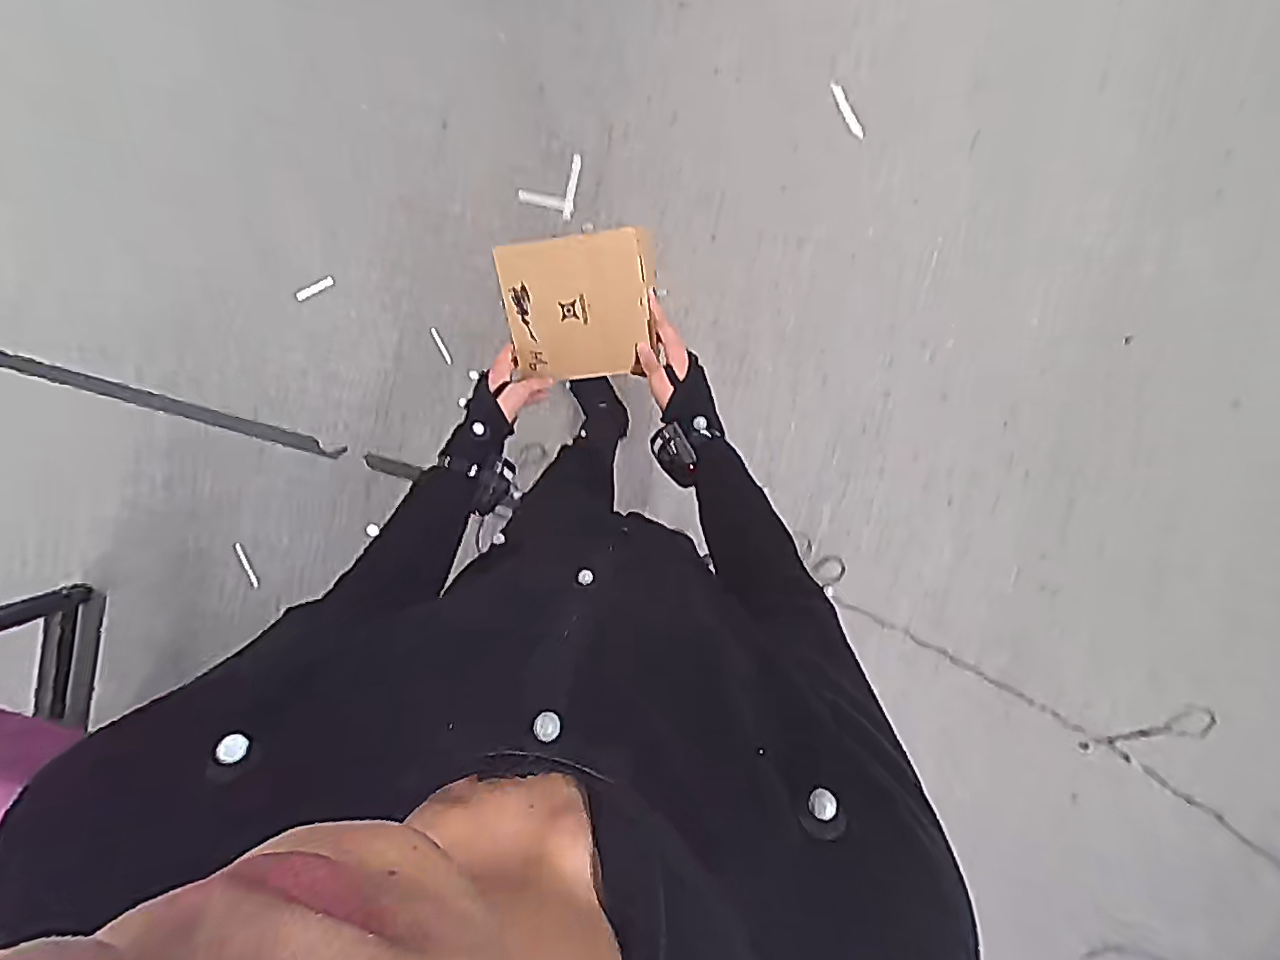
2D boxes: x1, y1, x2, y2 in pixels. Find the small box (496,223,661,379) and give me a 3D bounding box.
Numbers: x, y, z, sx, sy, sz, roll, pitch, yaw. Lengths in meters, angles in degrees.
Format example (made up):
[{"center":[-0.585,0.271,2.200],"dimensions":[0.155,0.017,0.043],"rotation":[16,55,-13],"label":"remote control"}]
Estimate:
[{"center":[-0.066,-0.244,0.722],"dimensions":[0.179,0.176,0.168],"rotation":[-5,114,9],"label":"small box"}]
